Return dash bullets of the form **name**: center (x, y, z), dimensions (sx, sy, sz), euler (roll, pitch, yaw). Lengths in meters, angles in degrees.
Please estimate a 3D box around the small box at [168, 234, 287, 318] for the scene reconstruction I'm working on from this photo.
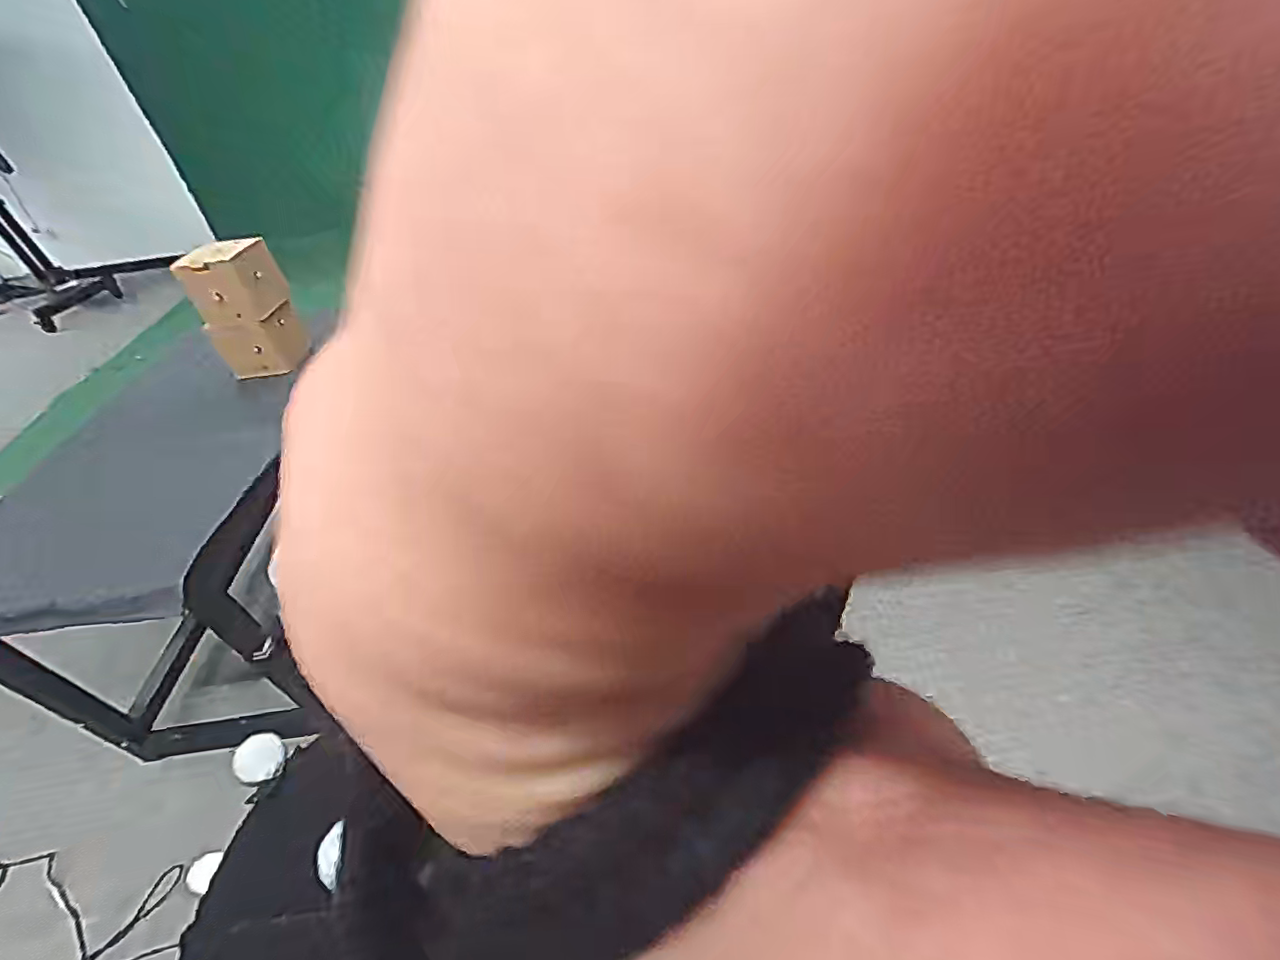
- **small box**: center (-1.129, -0.561, 1.501), dimensions (0.168, 0.176, 0.179), euler (-3, 43, 3)

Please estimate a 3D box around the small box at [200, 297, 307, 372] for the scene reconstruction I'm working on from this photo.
- **small box**: center (-1.131, -0.431, 1.603), dimensions (0.168, 0.176, 0.179), euler (-5, 42, 1)
